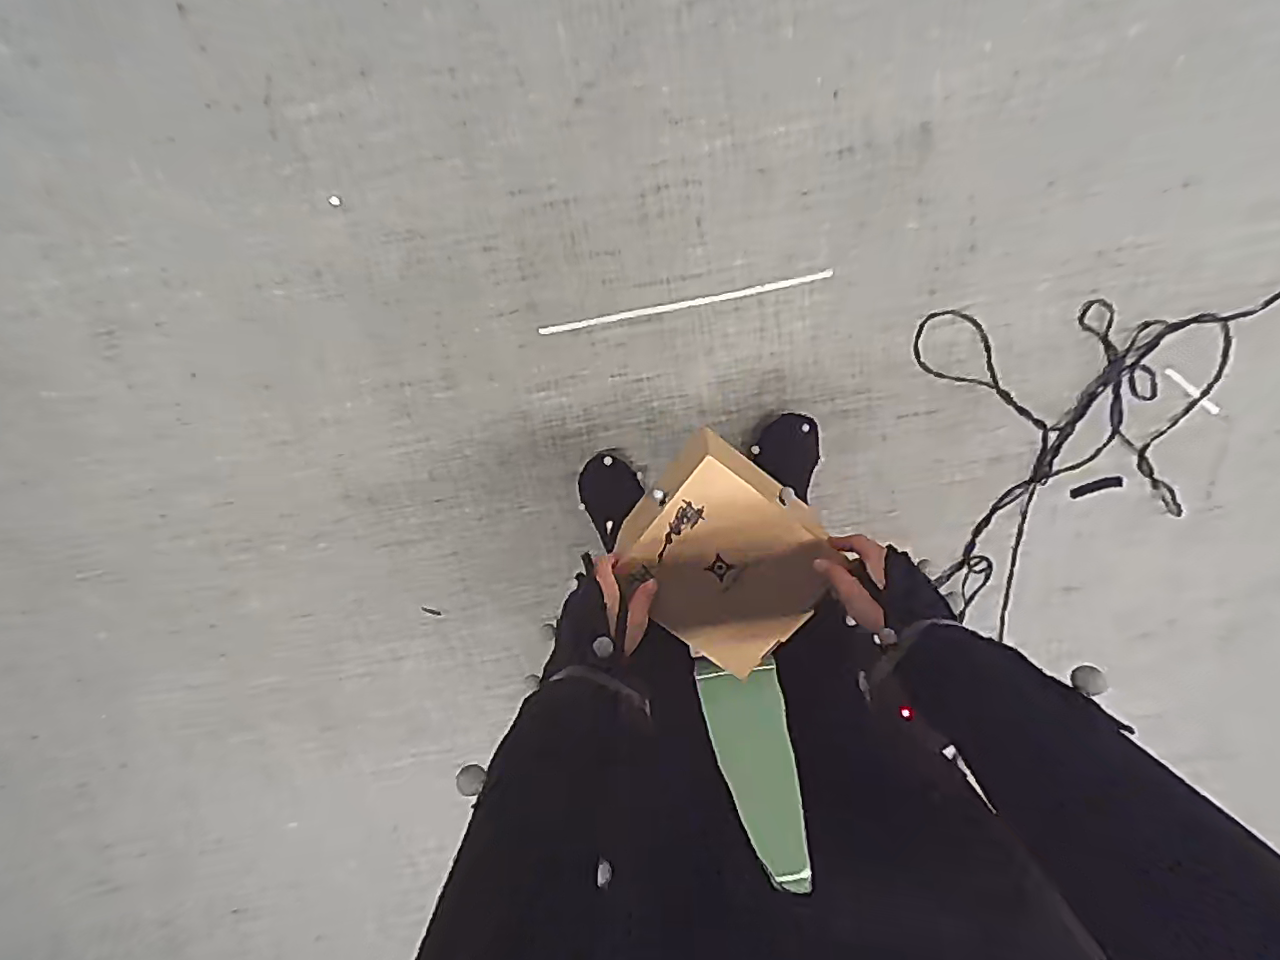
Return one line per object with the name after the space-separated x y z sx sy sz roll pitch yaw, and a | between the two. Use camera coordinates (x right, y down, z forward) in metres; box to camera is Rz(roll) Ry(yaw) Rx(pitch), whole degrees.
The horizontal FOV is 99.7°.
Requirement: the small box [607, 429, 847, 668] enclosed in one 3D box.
0.088 0.061 0.600 0.179 0.176 0.168 37 104 -6 | small box
